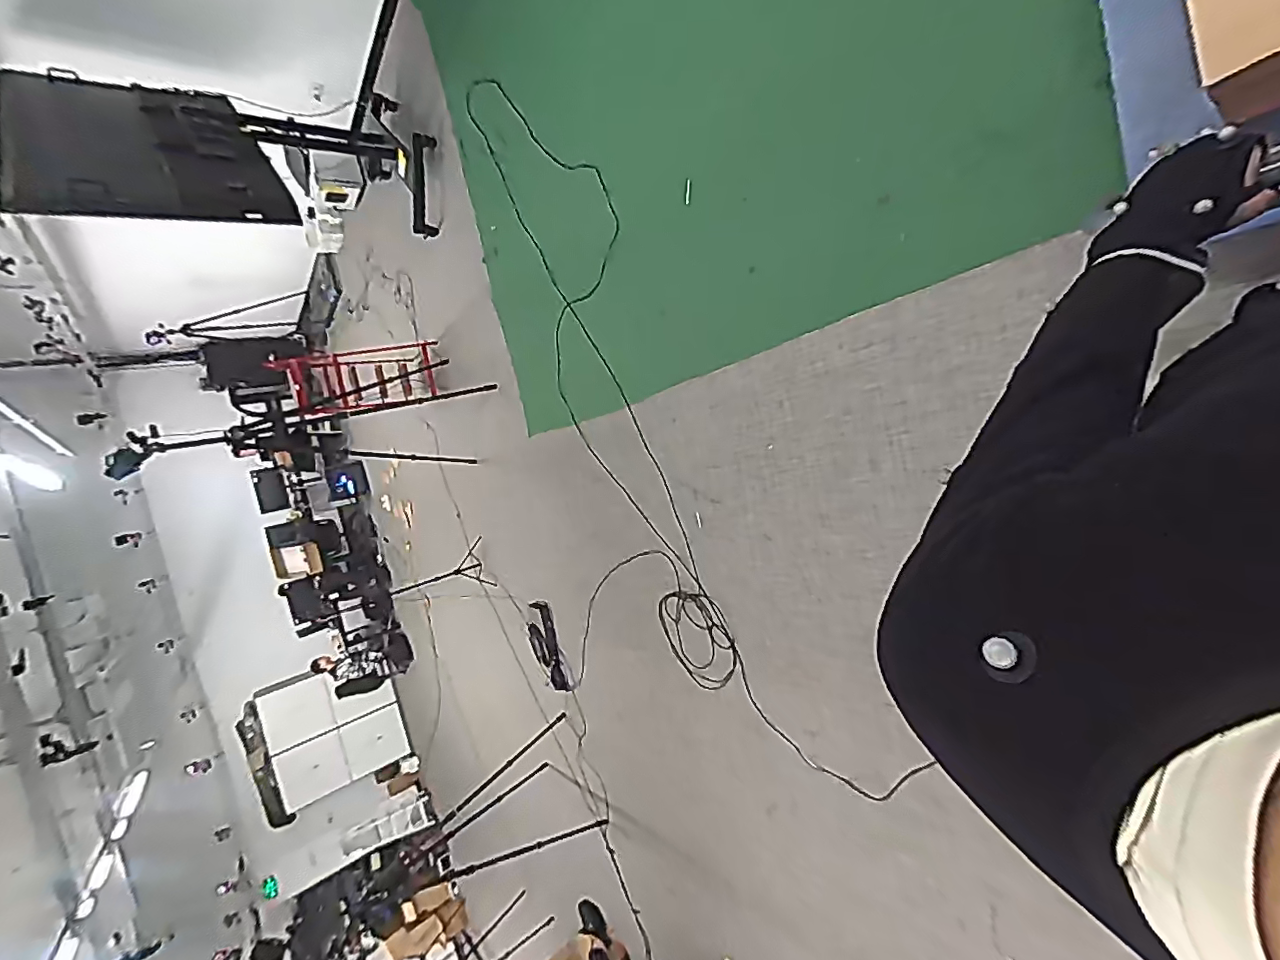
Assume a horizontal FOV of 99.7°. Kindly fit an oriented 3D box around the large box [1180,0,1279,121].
[{"bbox_3d":[0.958,-0.798,0.729,0.320,0.320,0.408,-11,93,53],"label":"large box"}]
